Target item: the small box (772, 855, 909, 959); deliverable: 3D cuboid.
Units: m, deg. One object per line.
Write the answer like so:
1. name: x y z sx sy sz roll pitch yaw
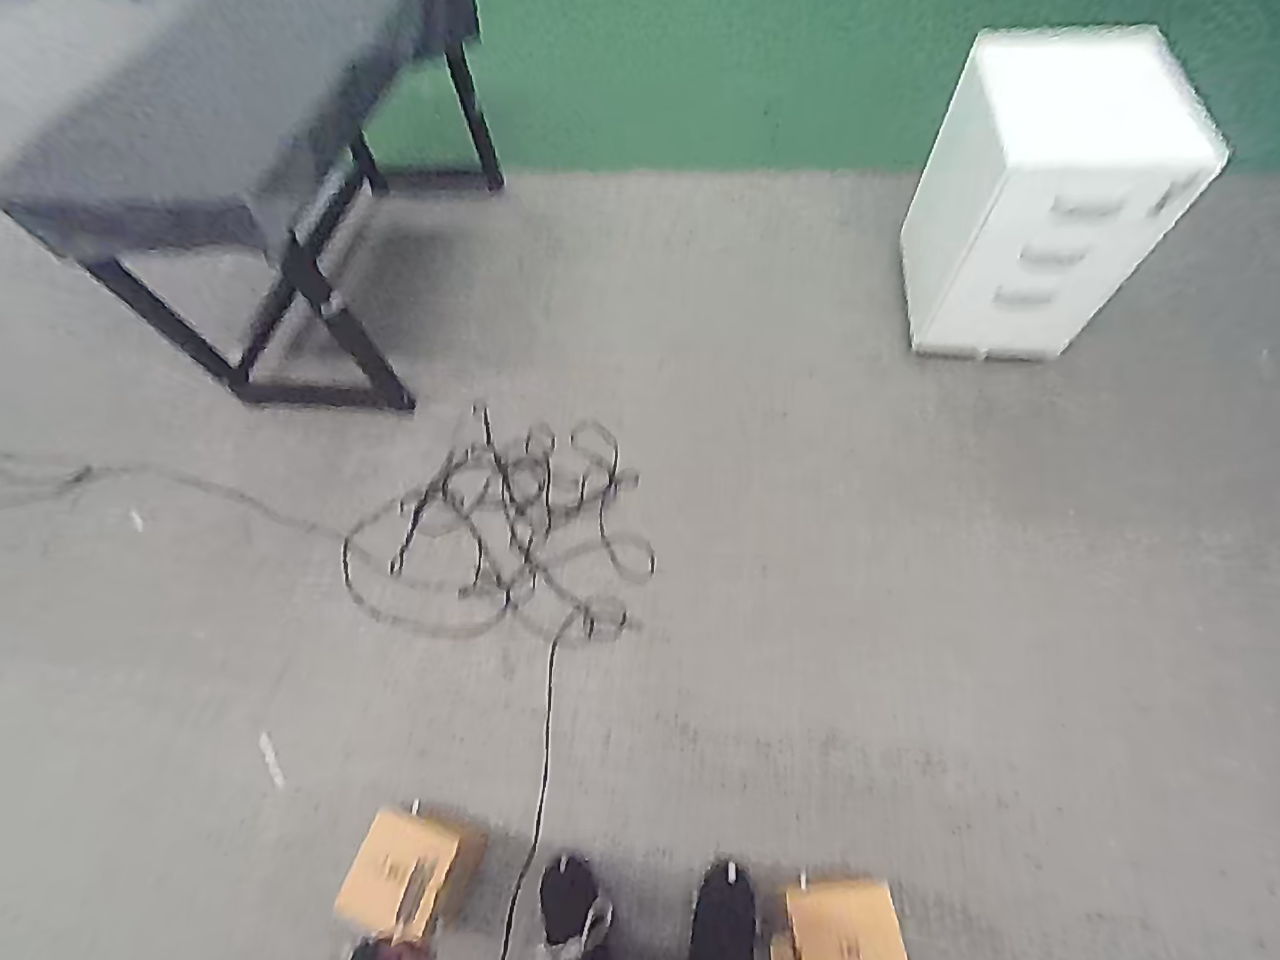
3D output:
1. small box: 0.345 0.778 0.950 0.179 0.176 0.168 -8 62 1
